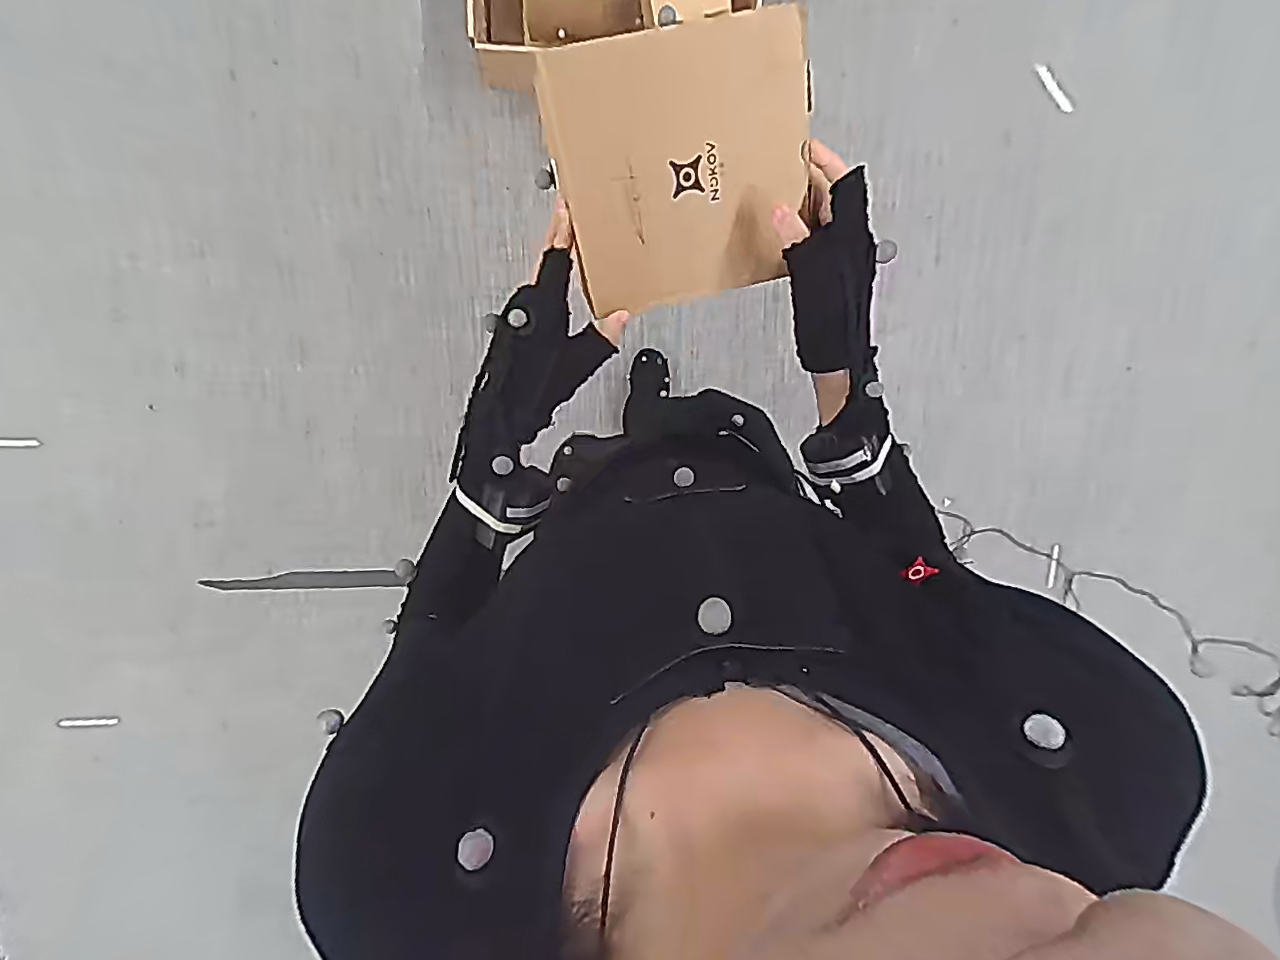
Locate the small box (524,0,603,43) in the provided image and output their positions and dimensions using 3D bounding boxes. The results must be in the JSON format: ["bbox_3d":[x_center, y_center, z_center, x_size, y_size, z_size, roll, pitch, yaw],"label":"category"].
[{"bbox_3d":[-0.166,-1.081,1.157,0.168,0.176,0.179,-2,101,-5],"label":"small box"}]

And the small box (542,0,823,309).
[{"bbox_3d":[0.027,-0.253,0.435,0.179,0.176,0.168,-15,119,-3],"label":"small box"}]
